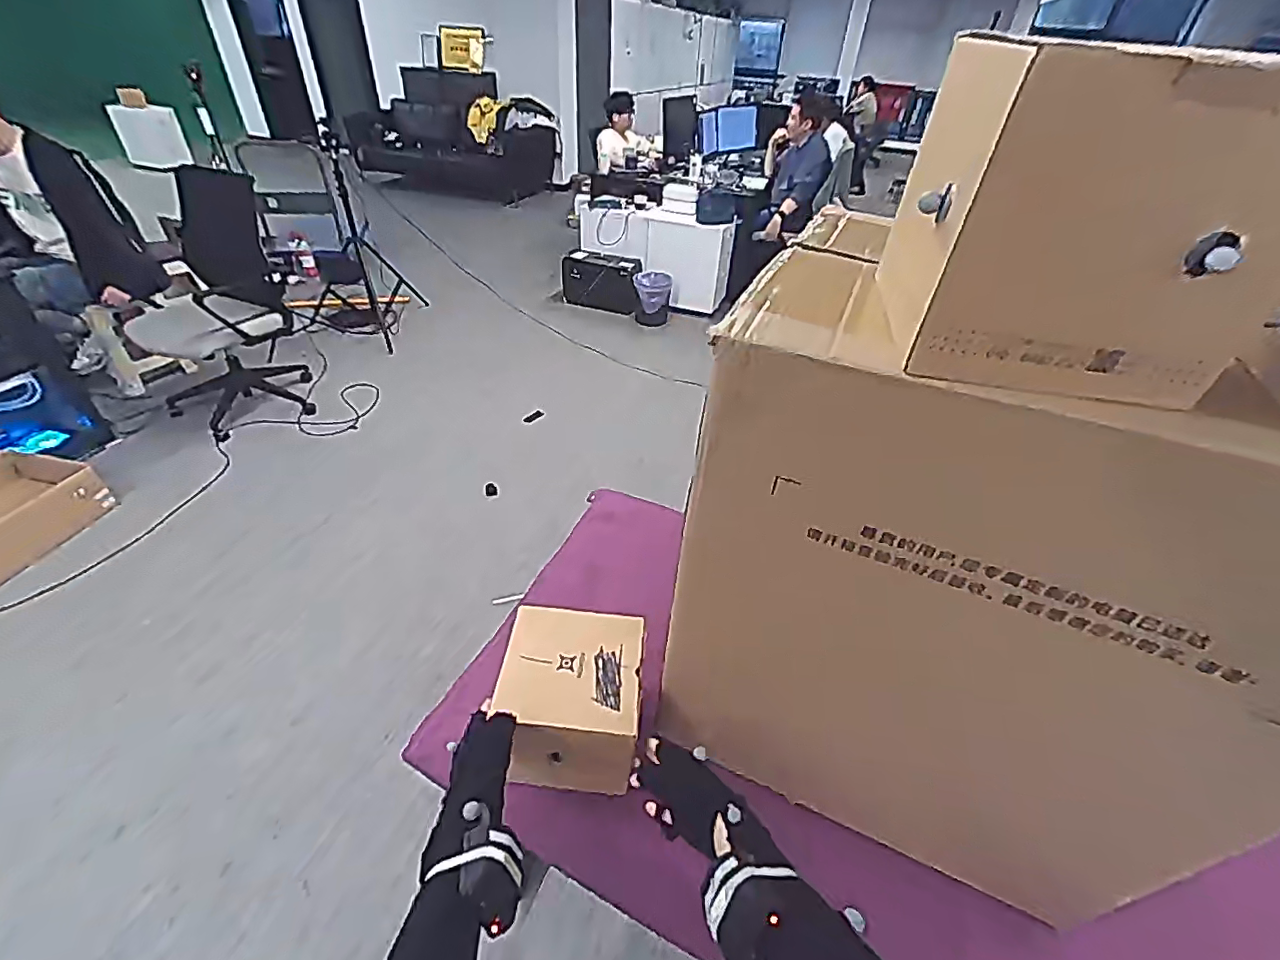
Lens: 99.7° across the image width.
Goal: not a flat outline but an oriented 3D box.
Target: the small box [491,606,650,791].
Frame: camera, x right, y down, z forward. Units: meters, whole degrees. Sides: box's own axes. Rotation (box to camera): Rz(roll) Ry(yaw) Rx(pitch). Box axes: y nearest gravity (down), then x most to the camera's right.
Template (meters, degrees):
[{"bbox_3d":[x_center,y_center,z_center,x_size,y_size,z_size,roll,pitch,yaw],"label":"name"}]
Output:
[{"bbox_3d":[-0.086,0.295,0.728,0.179,0.176,0.168,6,38,0],"label":"small box"}]

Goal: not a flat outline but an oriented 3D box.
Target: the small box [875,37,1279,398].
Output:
[{"bbox_3d":[0.270,-0.171,0.349,0.168,0.176,0.179,10,40,7],"label":"small box"}]
